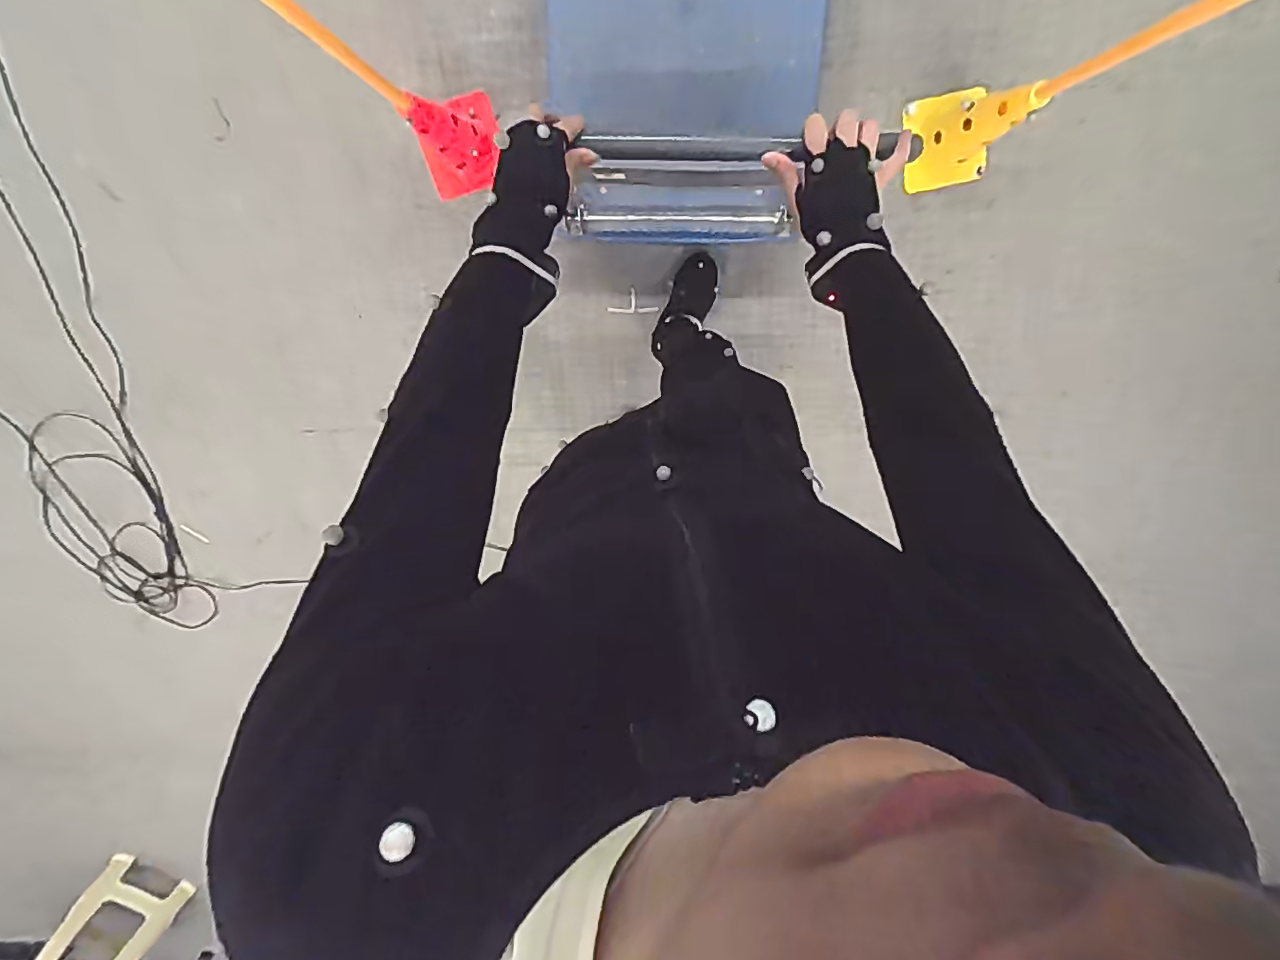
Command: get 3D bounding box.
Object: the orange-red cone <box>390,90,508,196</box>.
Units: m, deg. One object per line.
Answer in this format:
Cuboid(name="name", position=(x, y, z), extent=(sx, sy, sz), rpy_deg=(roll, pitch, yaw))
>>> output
Cuboid(name="orange-red cone", position=(-0.446, -0.766, 1.175), extent=(0.199, 0.360, 0.198), rpy_deg=(-13, 109, 7))
